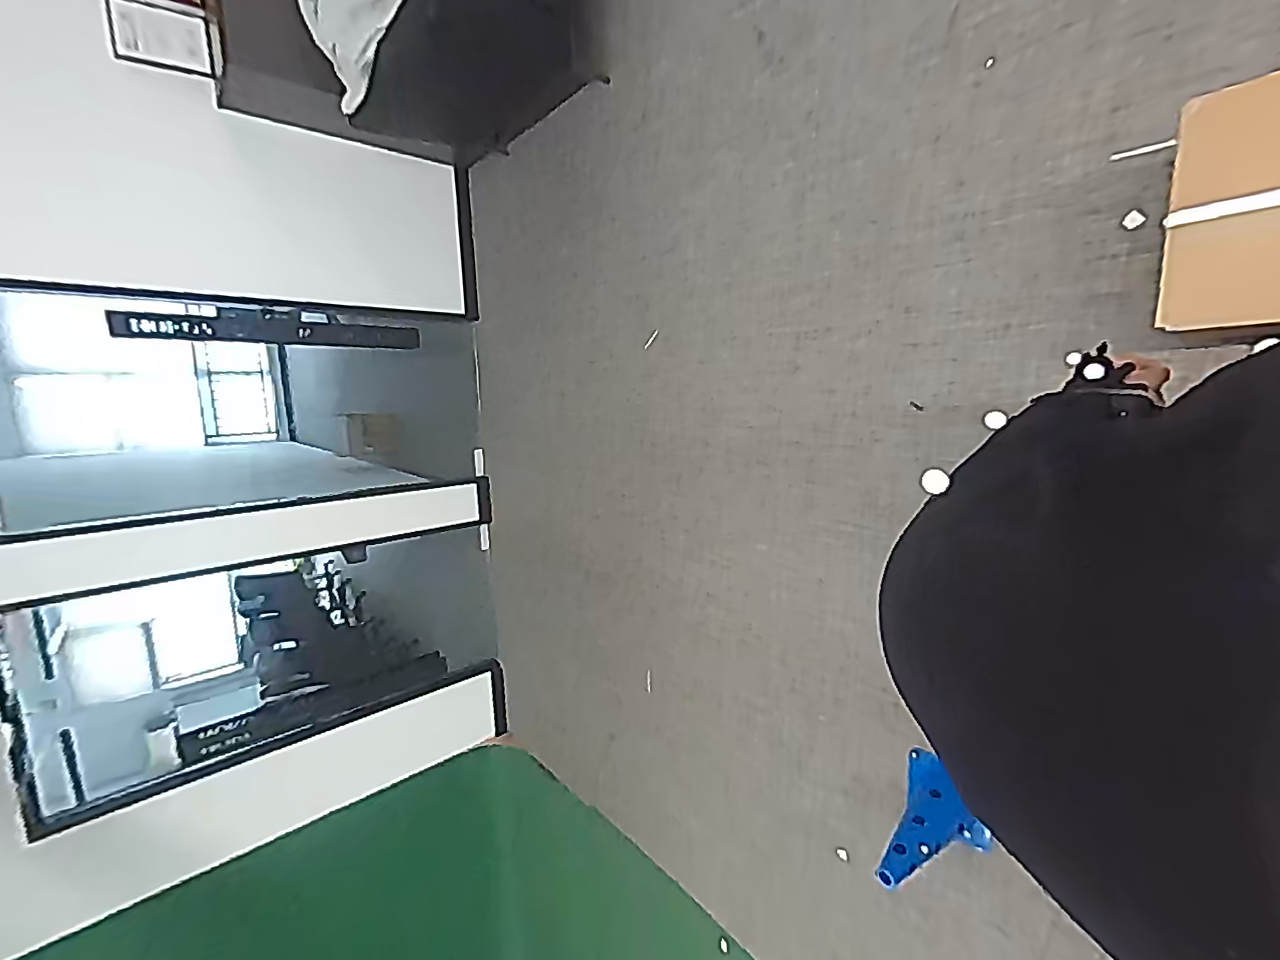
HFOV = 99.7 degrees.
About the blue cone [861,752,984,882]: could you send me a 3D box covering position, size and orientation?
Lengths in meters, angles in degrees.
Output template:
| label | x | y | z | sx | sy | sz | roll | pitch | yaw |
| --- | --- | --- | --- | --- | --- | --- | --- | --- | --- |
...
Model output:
| label | x | y | z | sx | sy | sz | roll | pitch | yaw |
| --- | --- | --- | --- | --- | --- | --- | --- | --- | --- |
| blue cone | 0.646 | 0.834 | 1.280 | 0.192 | 0.380 | 0.193 | 11 | 104 | 50 |
